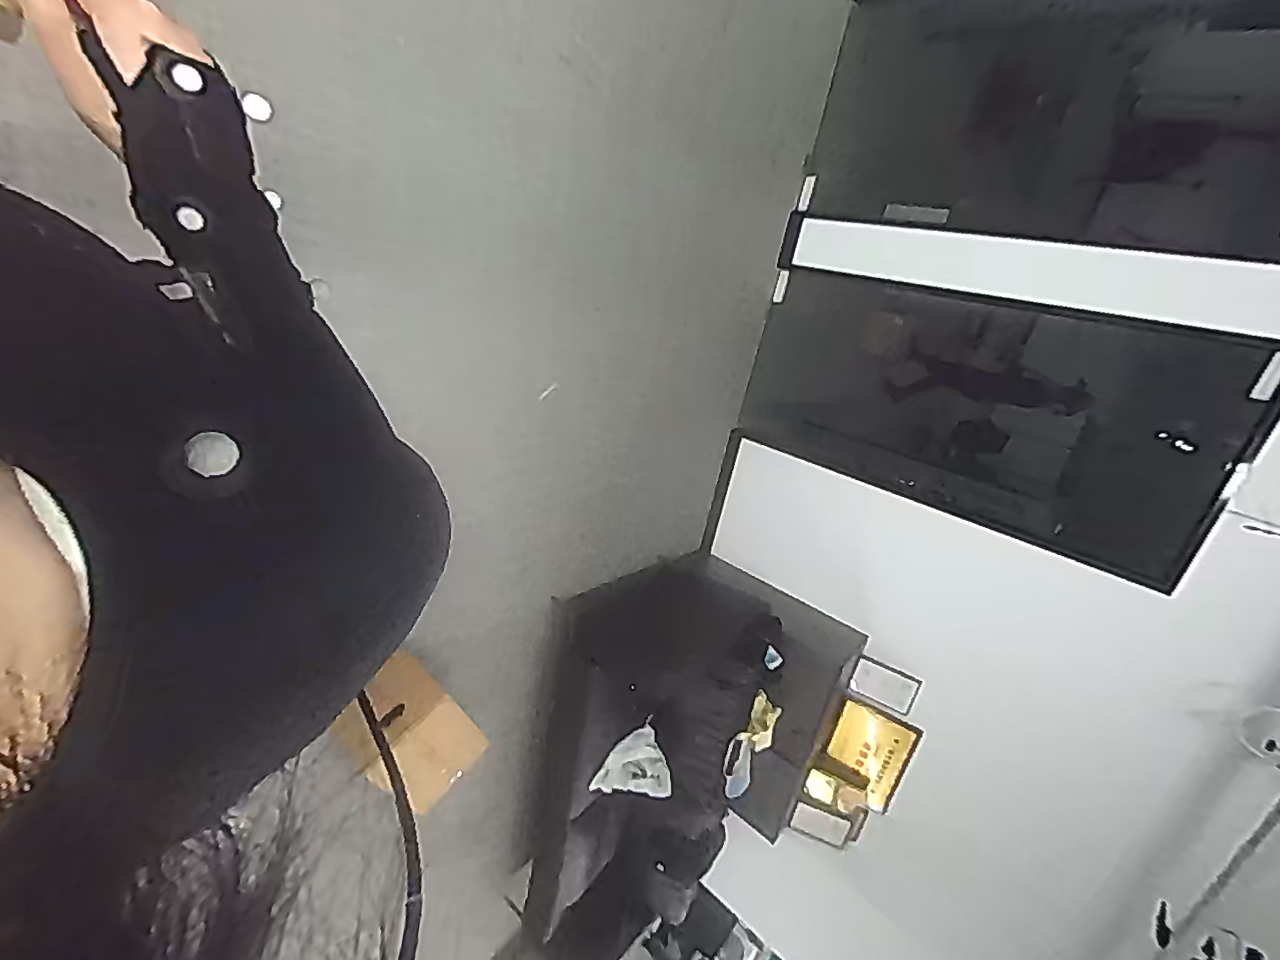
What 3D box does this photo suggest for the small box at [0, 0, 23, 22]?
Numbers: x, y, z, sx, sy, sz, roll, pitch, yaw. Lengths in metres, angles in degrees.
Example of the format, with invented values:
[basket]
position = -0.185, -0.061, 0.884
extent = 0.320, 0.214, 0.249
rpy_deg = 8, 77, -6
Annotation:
[small box]
position = -0.417, -0.366, 0.258
extent = 0.168, 0.176, 0.179
rpy_deg = 1, 114, -50
